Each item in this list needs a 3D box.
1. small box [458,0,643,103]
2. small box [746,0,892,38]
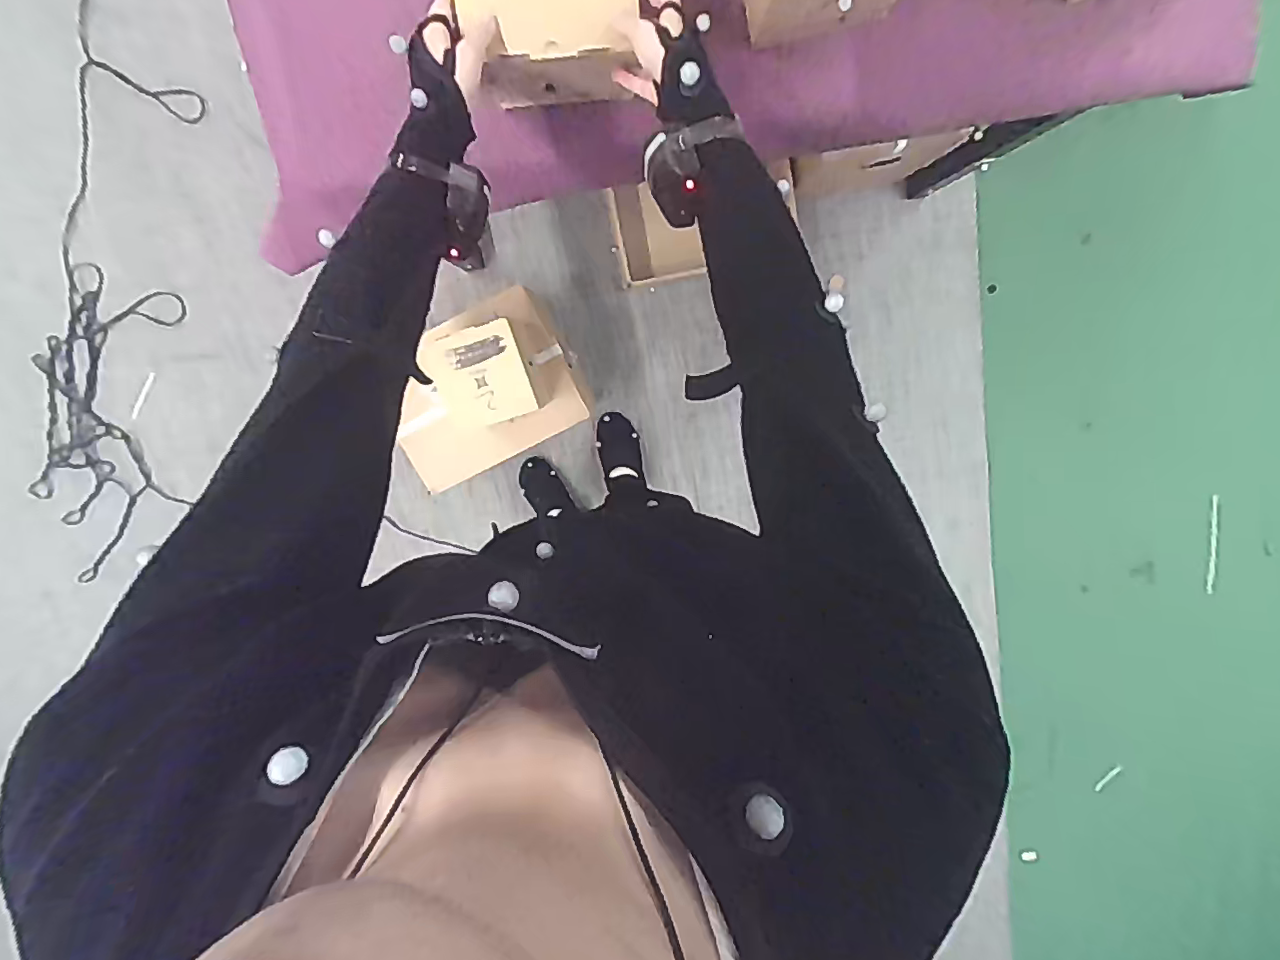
[{"bbox_3d":[-0.088,-0.502,0.535,0.168,0.176,0.179,-5,113,-1],"label":"small box"},{"bbox_3d":[0.197,-0.595,0.548,0.168,0.176,0.179,-14,102,1],"label":"small box"}]
